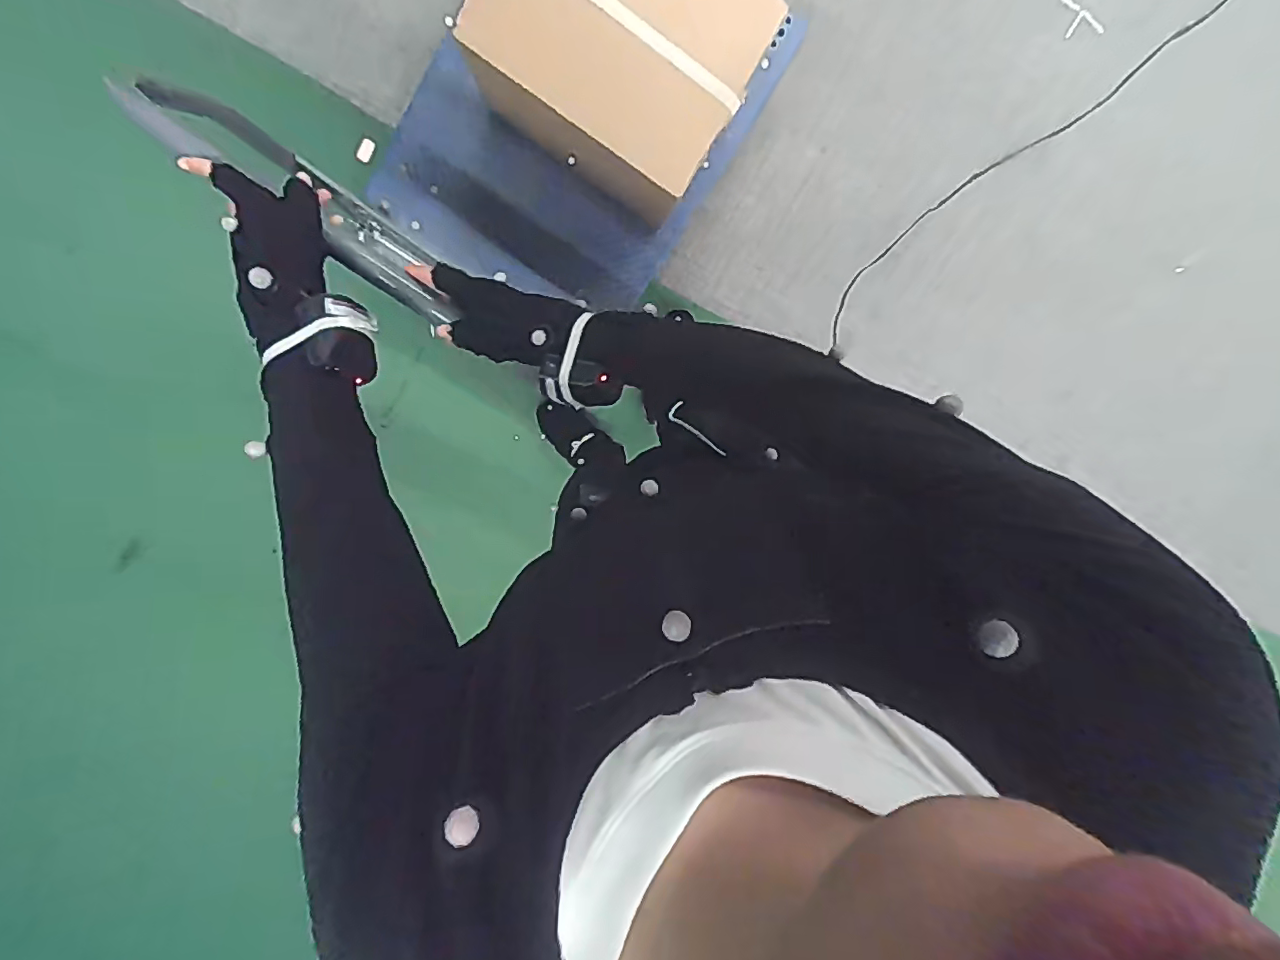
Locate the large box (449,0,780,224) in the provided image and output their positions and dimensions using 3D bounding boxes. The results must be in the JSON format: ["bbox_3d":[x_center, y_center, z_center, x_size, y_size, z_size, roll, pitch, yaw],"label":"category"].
[{"bbox_3d":[-0.042,-0.718,0.943,0.408,0.320,0.320,31,101,-11],"label":"large box"}]
